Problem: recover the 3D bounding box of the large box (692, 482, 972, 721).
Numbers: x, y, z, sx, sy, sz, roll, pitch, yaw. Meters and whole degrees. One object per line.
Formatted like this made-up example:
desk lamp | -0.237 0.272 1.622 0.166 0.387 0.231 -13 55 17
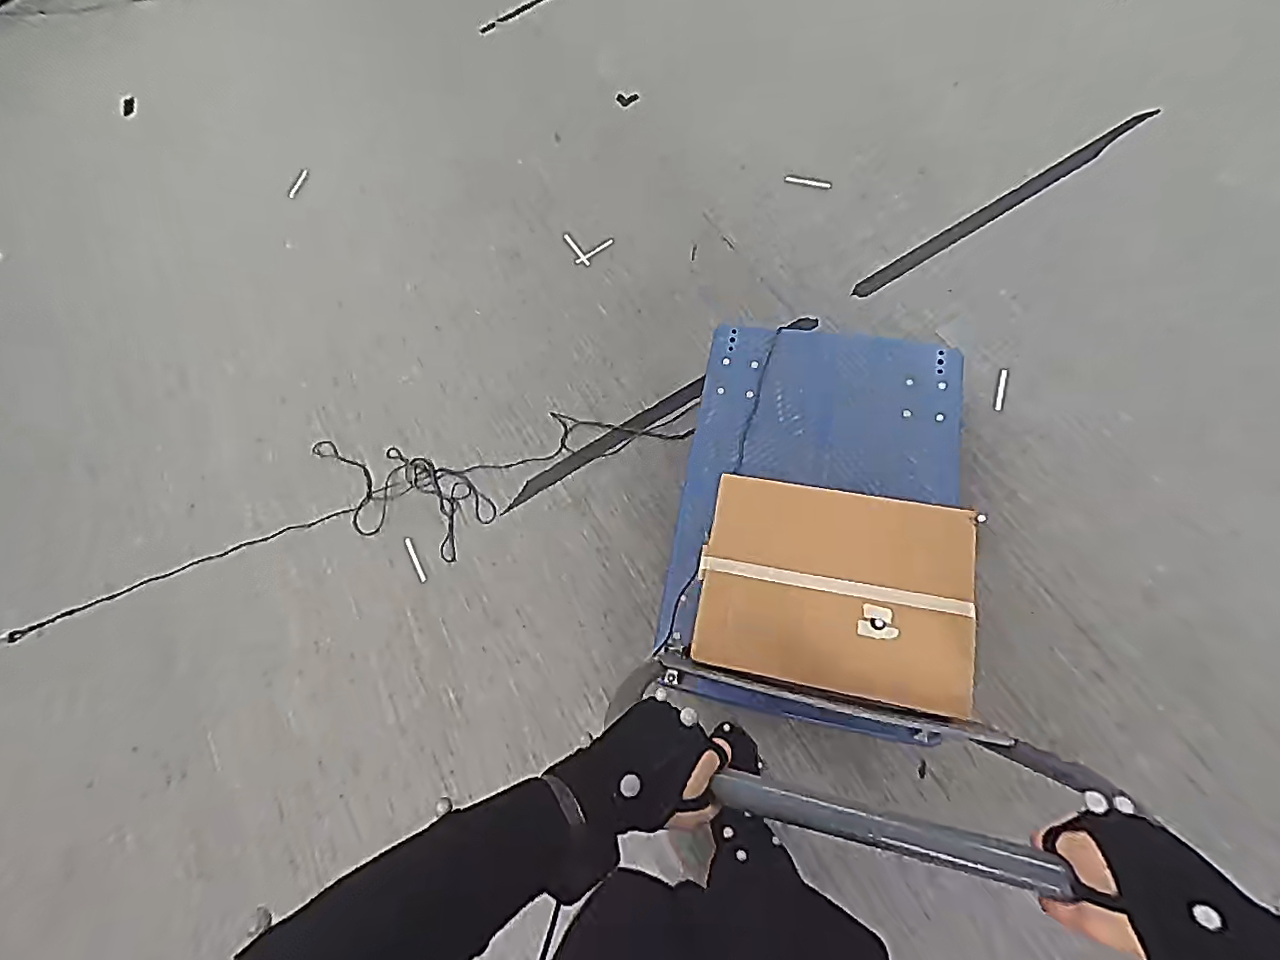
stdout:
large box | 0.315 0.218 0.975 0.408 0.320 0.320 9 74 10
